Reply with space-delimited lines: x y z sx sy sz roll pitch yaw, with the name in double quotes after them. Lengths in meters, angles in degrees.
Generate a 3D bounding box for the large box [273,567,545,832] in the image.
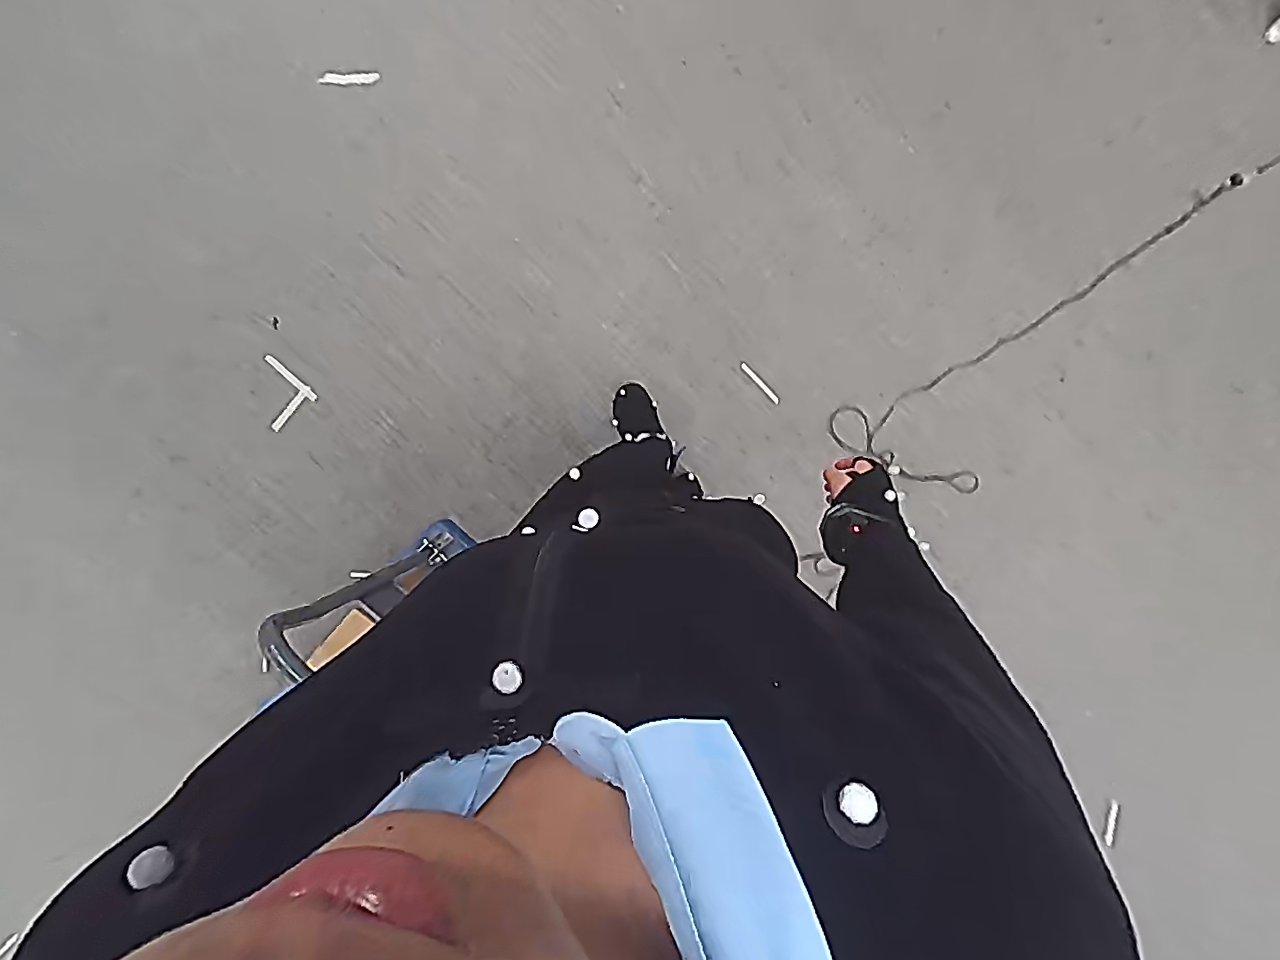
-0.488 0.468 1.230 0.408 0.320 0.320 41 95 -1 "large box"
